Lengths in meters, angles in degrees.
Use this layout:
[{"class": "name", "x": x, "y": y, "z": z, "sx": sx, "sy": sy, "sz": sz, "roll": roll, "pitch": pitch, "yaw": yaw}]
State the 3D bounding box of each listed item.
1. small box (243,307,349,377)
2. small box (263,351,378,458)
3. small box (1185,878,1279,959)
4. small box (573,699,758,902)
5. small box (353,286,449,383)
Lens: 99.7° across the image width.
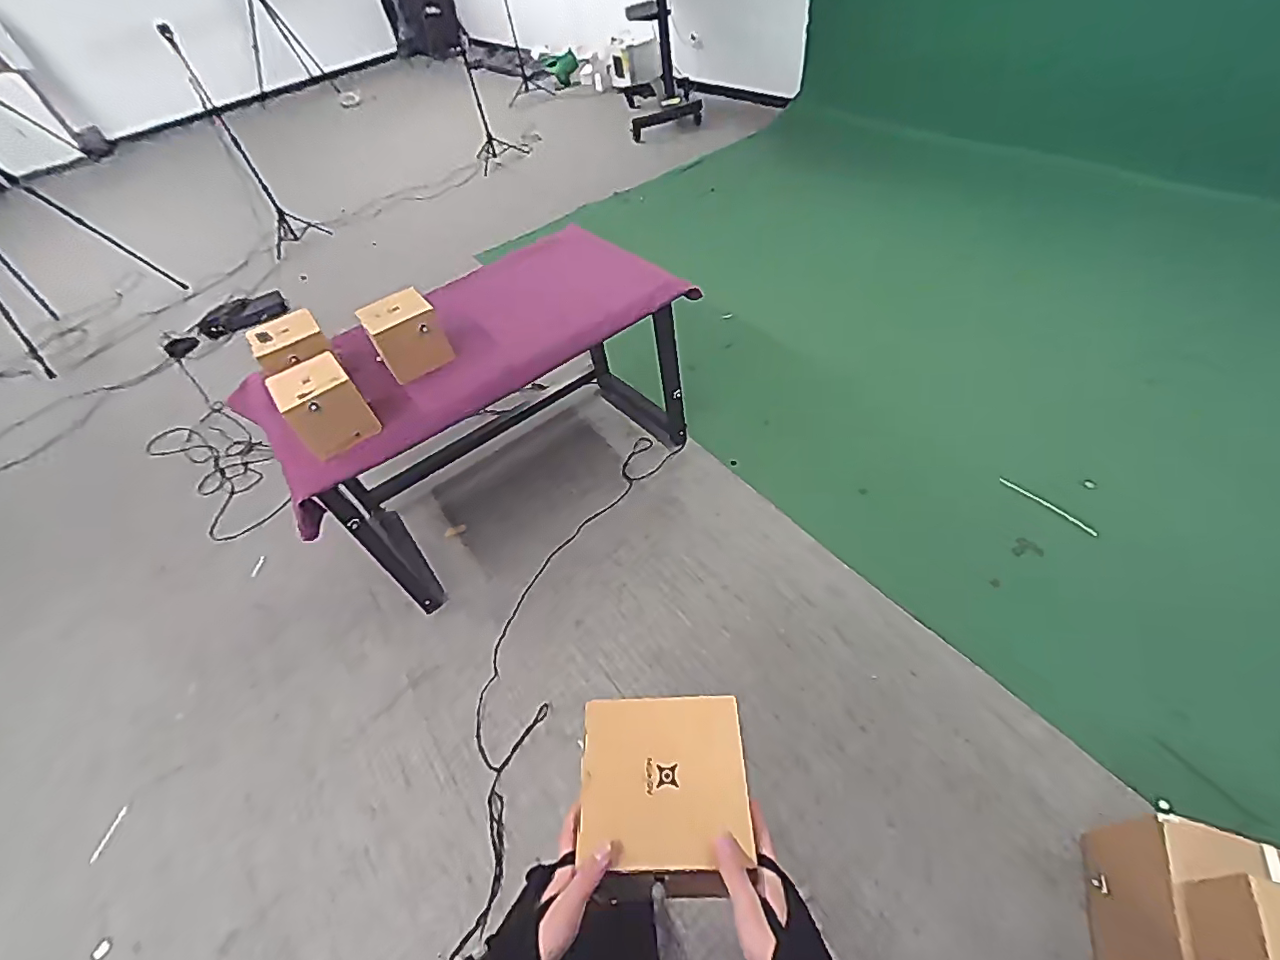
[{"class": "small box", "x": -0.961, "y": -0.348, "z": 1.515, "sx": 0.179, "sy": 0.176, "sz": 0.168, "roll": -33, "pitch": 53, "yaw": -18}, {"class": "small box", "x": -0.789, "y": -0.186, "z": 1.346, "sx": 0.168, "sy": 0.176, "sz": 0.179, "roll": -35, "pitch": 51, "yaw": -19}, {"class": "small box", "x": 0.972, "y": 0.733, "z": 0.801, "sx": 0.168, "sy": 0.176, "sz": 0.179, "roll": 13, "pitch": 53, "yaw": 20}, {"class": "small box", "x": 0.029, "y": 0.365, "z": 0.615, "sx": 0.179, "sy": 0.176, "sz": 0.168, "roll": -4, "pitch": 45, "yaw": 3}, {"class": "small box", "x": -0.657, "y": -0.405, "z": 1.510, "sx": 0.179, "sy": 0.176, "sz": 0.168, "roll": -33, "pitch": 52, "yaw": -18}]
